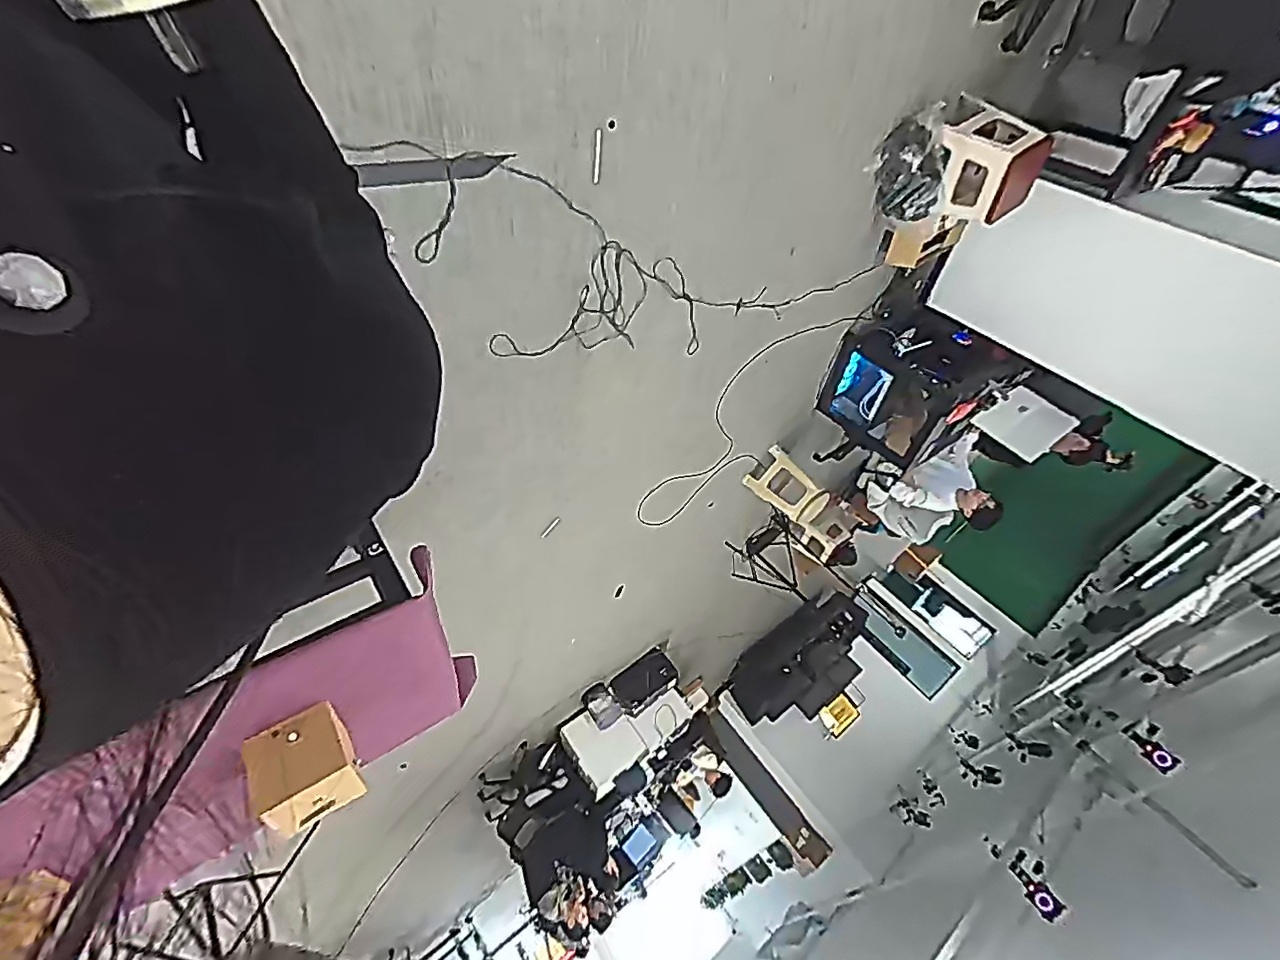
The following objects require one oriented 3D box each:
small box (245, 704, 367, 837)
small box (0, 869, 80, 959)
[{"bbox_3d":[-0.721,0.623,1.174,0.168,0.176,0.179,-24,143,-31],"label":"small box"},{"bbox_3d":[-1.125,0.827,0.944,0.168,0.176,0.179,-22,143,-34],"label":"small box"}]
